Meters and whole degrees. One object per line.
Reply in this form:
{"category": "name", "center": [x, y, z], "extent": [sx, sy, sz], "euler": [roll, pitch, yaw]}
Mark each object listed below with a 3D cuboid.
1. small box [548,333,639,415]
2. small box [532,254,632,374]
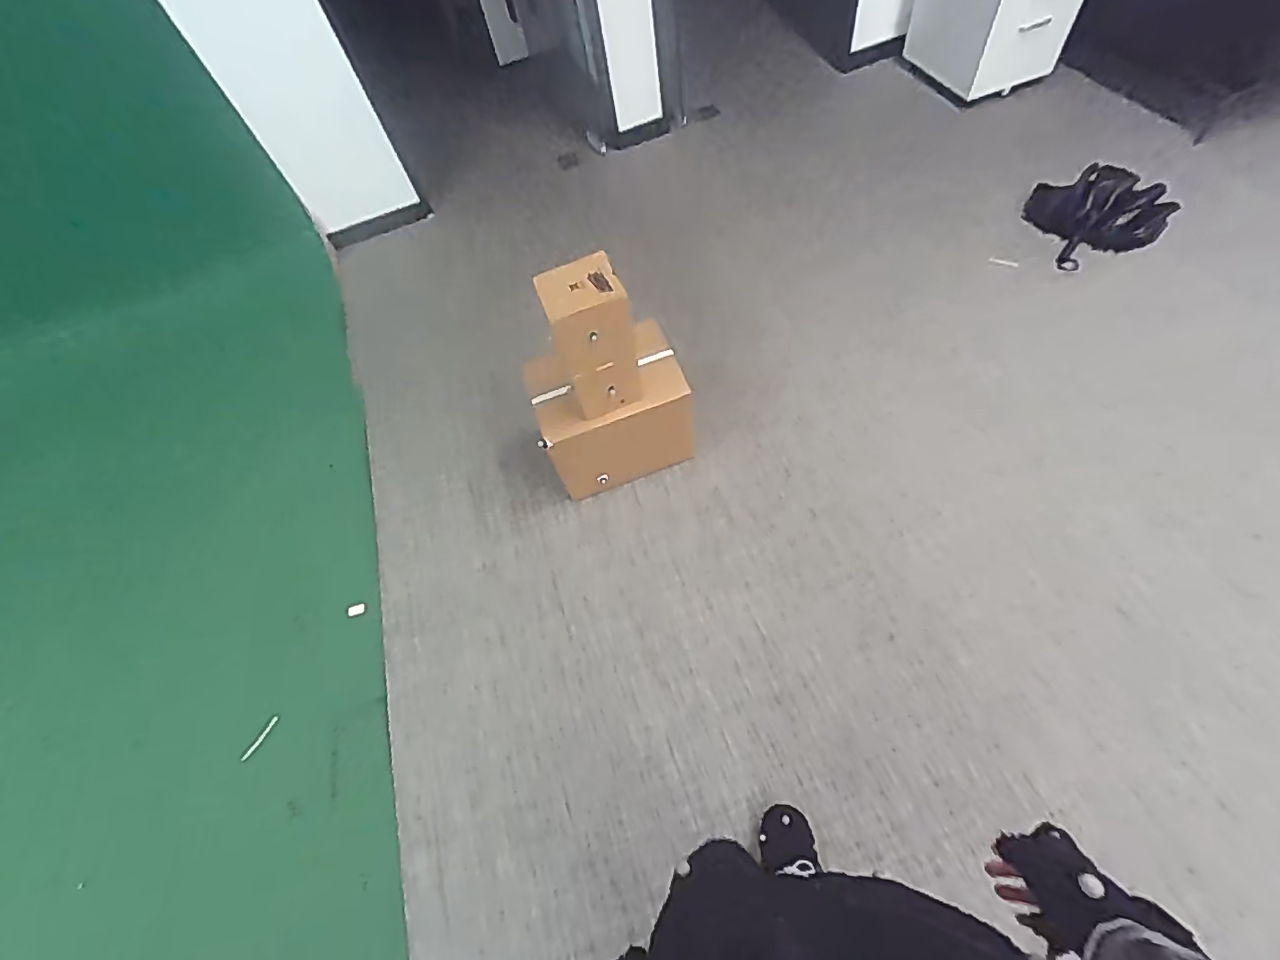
{"category": "small box", "center": [-0.112, -0.289, 1.375], "extent": [0.168, 0.176, 0.179], "euler": [-23, 60, -5]}
{"category": "small box", "center": [-0.125, -0.374, 1.233], "extent": [0.179, 0.176, 0.168], "euler": [-21, 59, -3]}
